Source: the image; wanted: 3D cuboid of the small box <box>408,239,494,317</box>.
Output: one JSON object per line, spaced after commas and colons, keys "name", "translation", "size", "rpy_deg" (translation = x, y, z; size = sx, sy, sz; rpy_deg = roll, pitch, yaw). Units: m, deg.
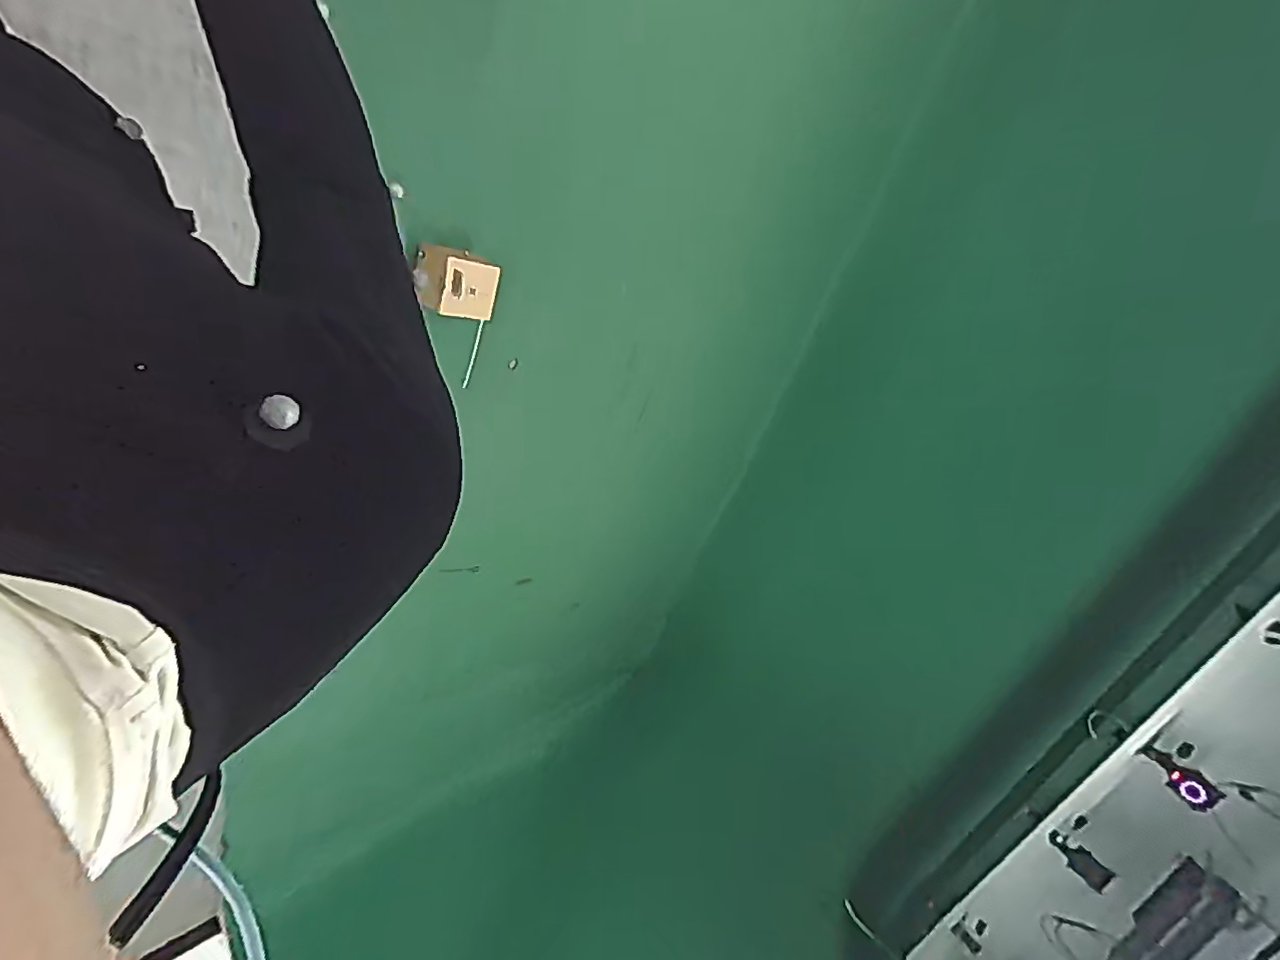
{"name": "small box", "translation": [-0.574, -0.610, 1.629], "size": [0.179, 0.176, 0.168], "rpy_deg": [-11, 129, -50]}
